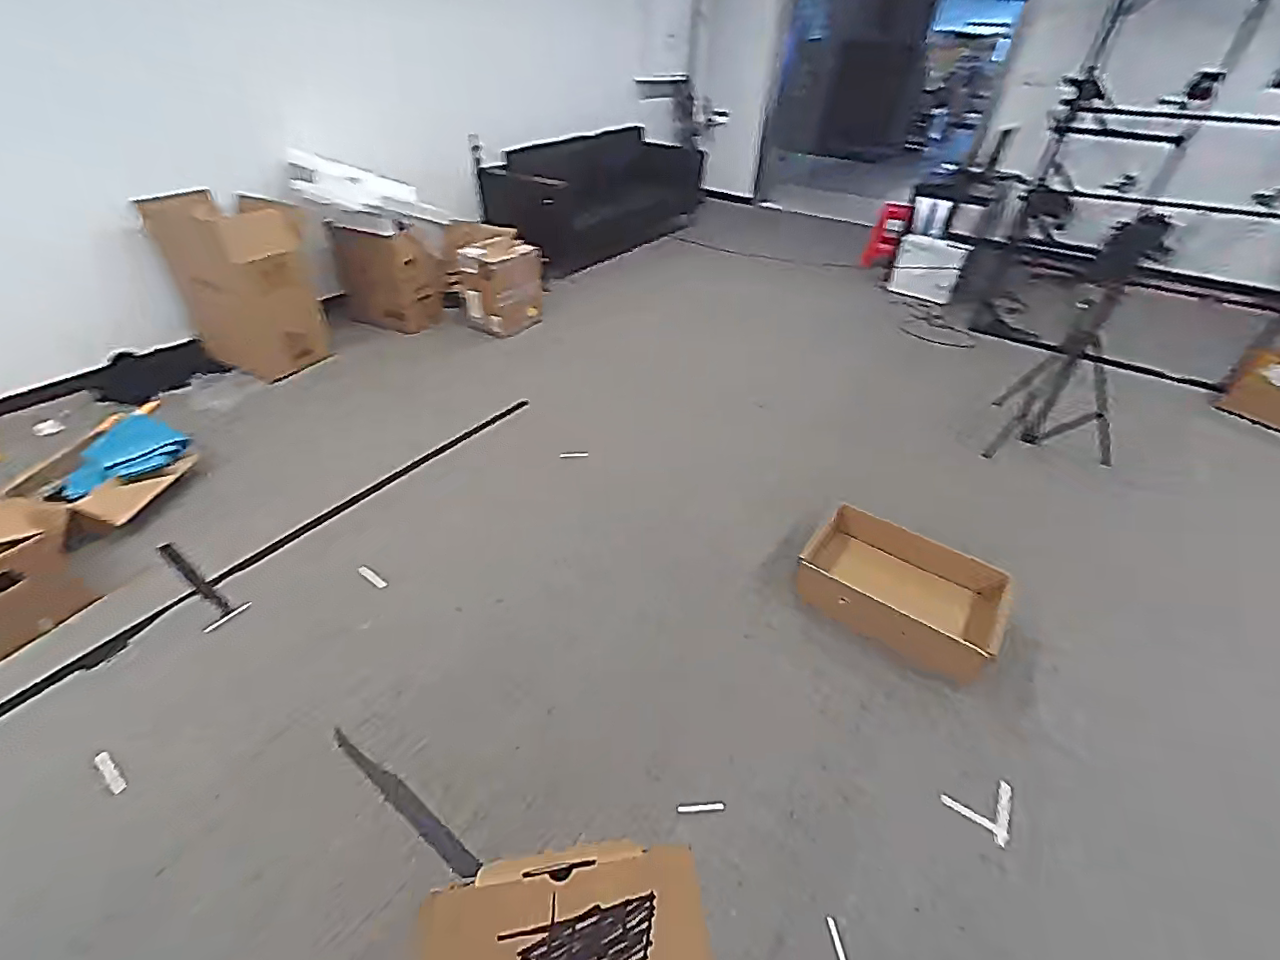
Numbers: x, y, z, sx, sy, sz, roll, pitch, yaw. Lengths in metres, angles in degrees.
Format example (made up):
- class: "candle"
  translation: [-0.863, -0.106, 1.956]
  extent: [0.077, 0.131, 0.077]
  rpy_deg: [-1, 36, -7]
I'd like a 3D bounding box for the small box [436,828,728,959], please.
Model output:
- class: "small box"
  translation: [-0.029, 0.347, 0.339]
  extent: [0.168, 0.176, 0.179]
  rpy_deg: [-7, 49, -6]
